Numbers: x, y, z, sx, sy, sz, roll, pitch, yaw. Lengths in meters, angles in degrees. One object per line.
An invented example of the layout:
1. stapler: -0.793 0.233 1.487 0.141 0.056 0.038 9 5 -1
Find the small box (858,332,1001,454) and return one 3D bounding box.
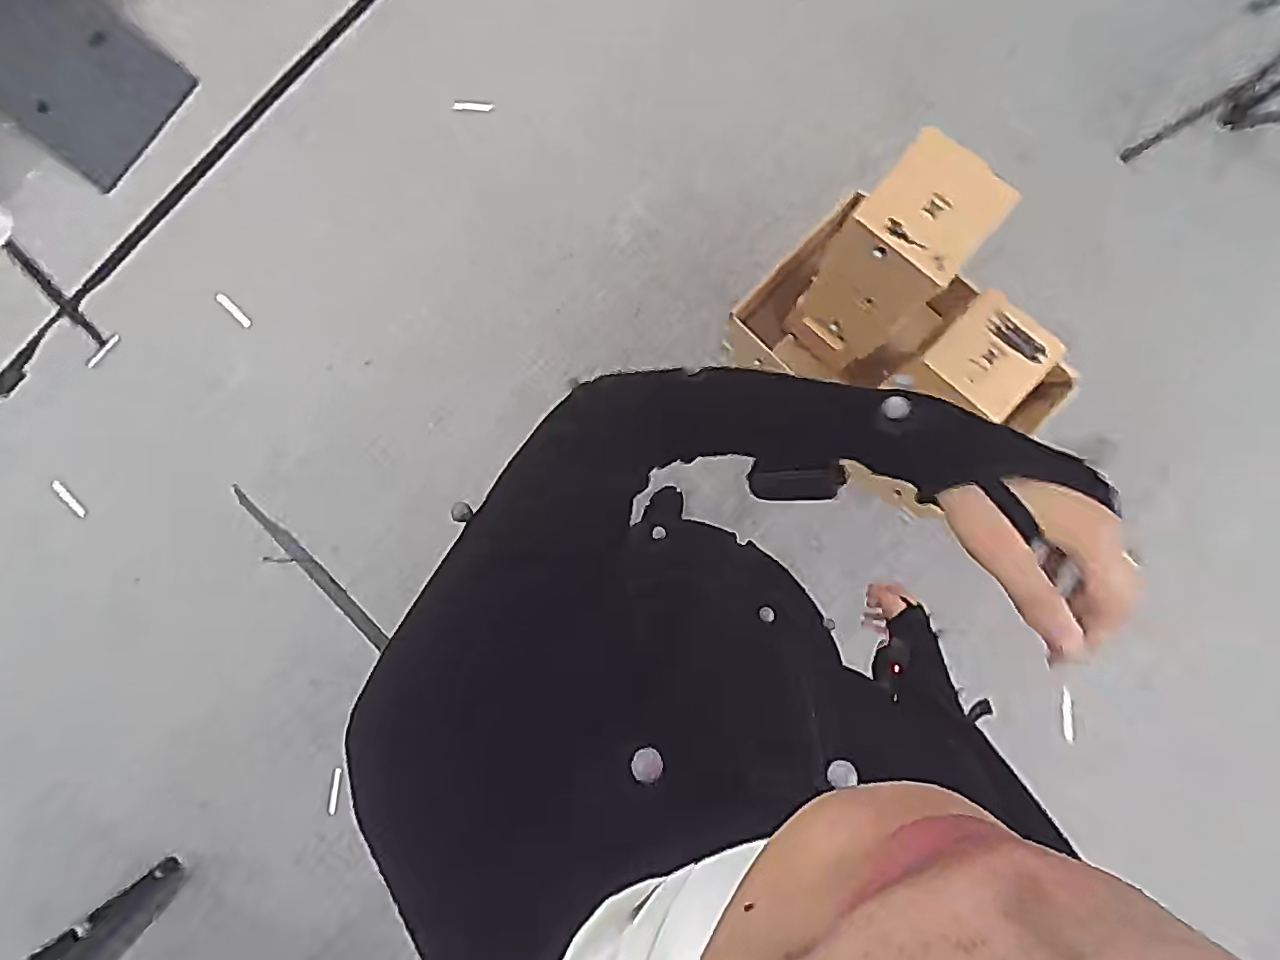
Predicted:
1. small box: 0.599 -0.176 1.146 0.179 0.176 0.168 -43 84 0

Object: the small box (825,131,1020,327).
1. small box: 0.418 -0.374 0.836 0.168 0.176 0.179 42 88 5

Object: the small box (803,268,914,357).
1. small box: 0.430 -0.359 1.000 0.168 0.176 0.179 42 90 5
